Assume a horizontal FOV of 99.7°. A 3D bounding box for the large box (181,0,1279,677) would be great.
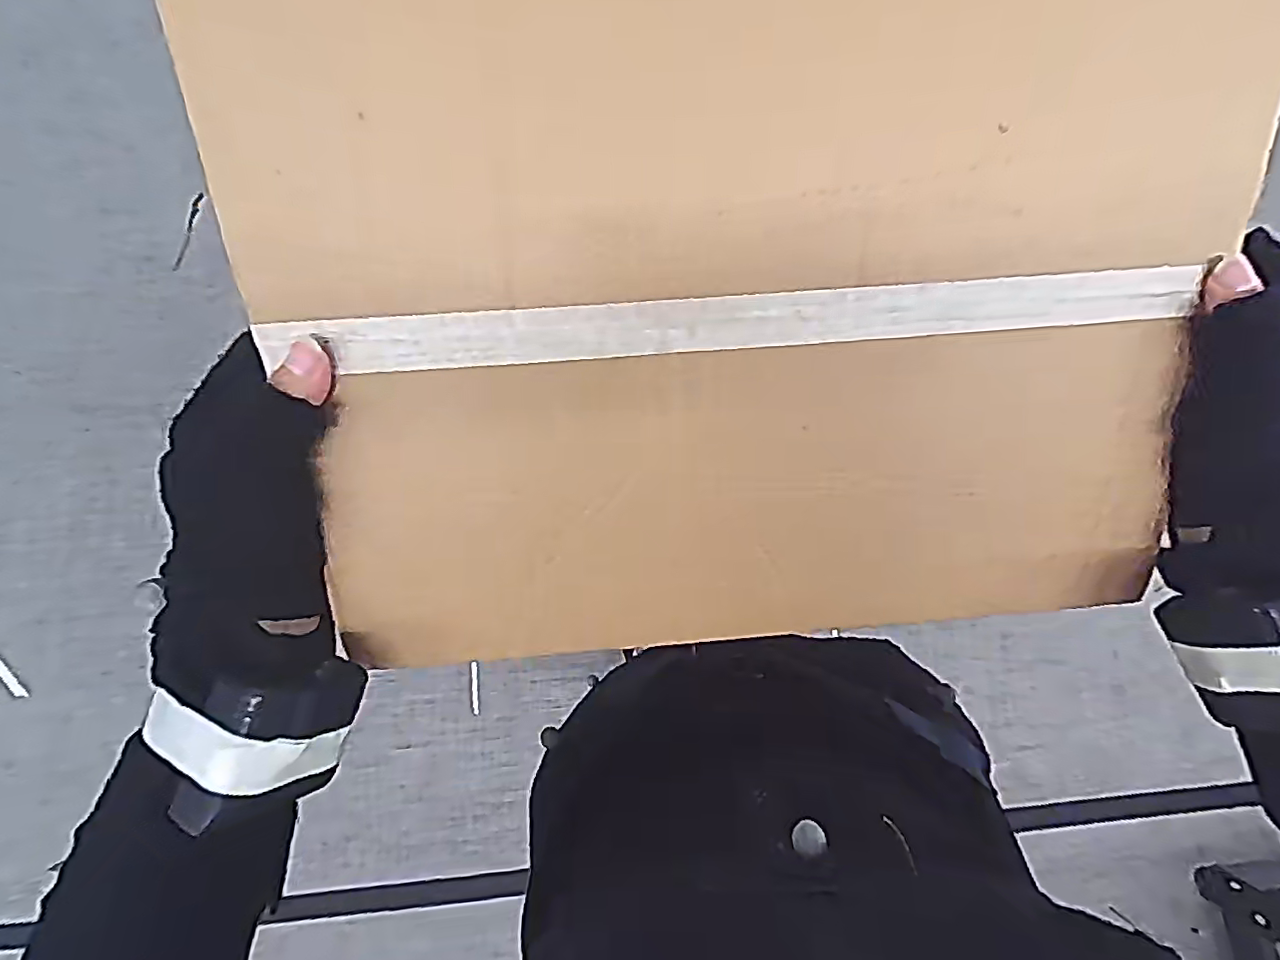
[{"bbox_3d":[0.042,-0.109,0.375,0.408,0.320,0.320,-5,109,-3],"label":"large box"}]
